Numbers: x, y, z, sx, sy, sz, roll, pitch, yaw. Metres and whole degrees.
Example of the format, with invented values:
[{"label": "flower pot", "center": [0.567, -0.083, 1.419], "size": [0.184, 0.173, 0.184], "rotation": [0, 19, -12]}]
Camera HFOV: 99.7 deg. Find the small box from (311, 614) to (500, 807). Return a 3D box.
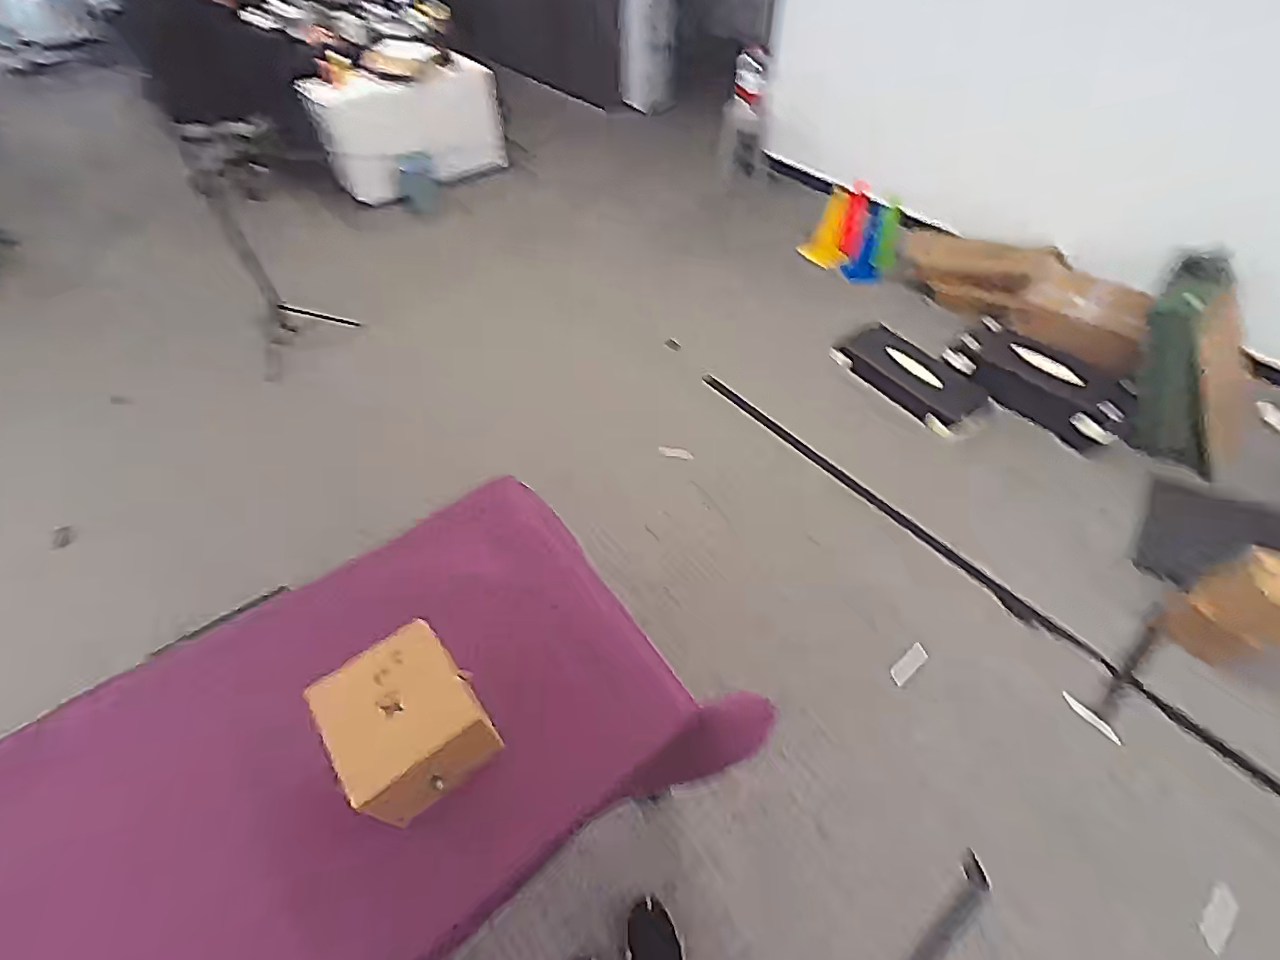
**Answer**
[{"label": "small box", "center": [-0.320, 0.331, 0.767], "size": [0.168, 0.176, 0.179], "rotation": [-32, 58, -23]}]
